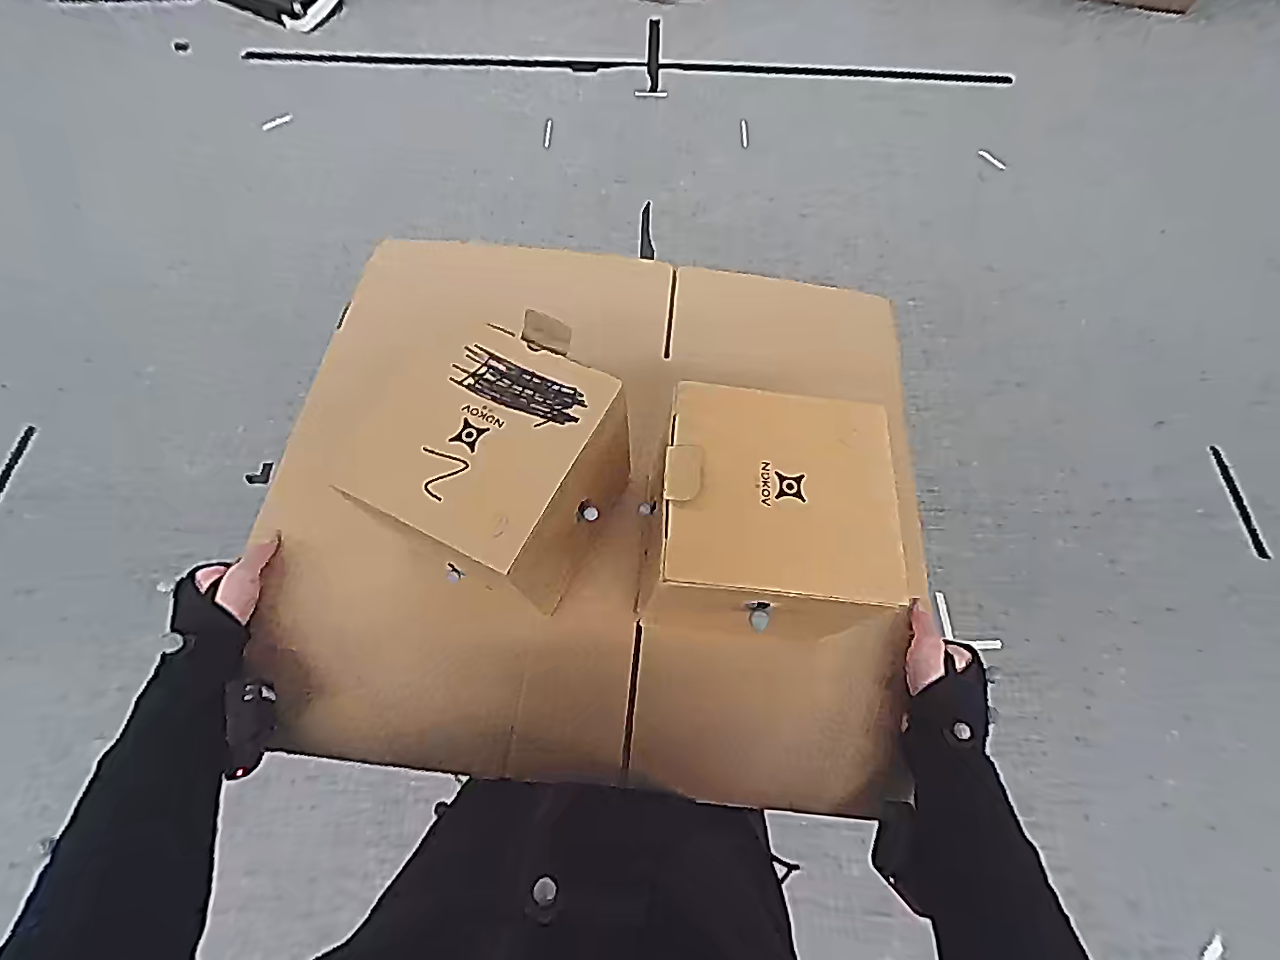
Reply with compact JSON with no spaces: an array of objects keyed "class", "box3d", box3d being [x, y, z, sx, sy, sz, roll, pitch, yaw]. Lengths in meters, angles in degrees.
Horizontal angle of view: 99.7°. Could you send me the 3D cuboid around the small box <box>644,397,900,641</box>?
[{"class":"small box","box3d":[0.103,0.047,0.492,0.179,0.176,0.168,6,65,-2]}]
